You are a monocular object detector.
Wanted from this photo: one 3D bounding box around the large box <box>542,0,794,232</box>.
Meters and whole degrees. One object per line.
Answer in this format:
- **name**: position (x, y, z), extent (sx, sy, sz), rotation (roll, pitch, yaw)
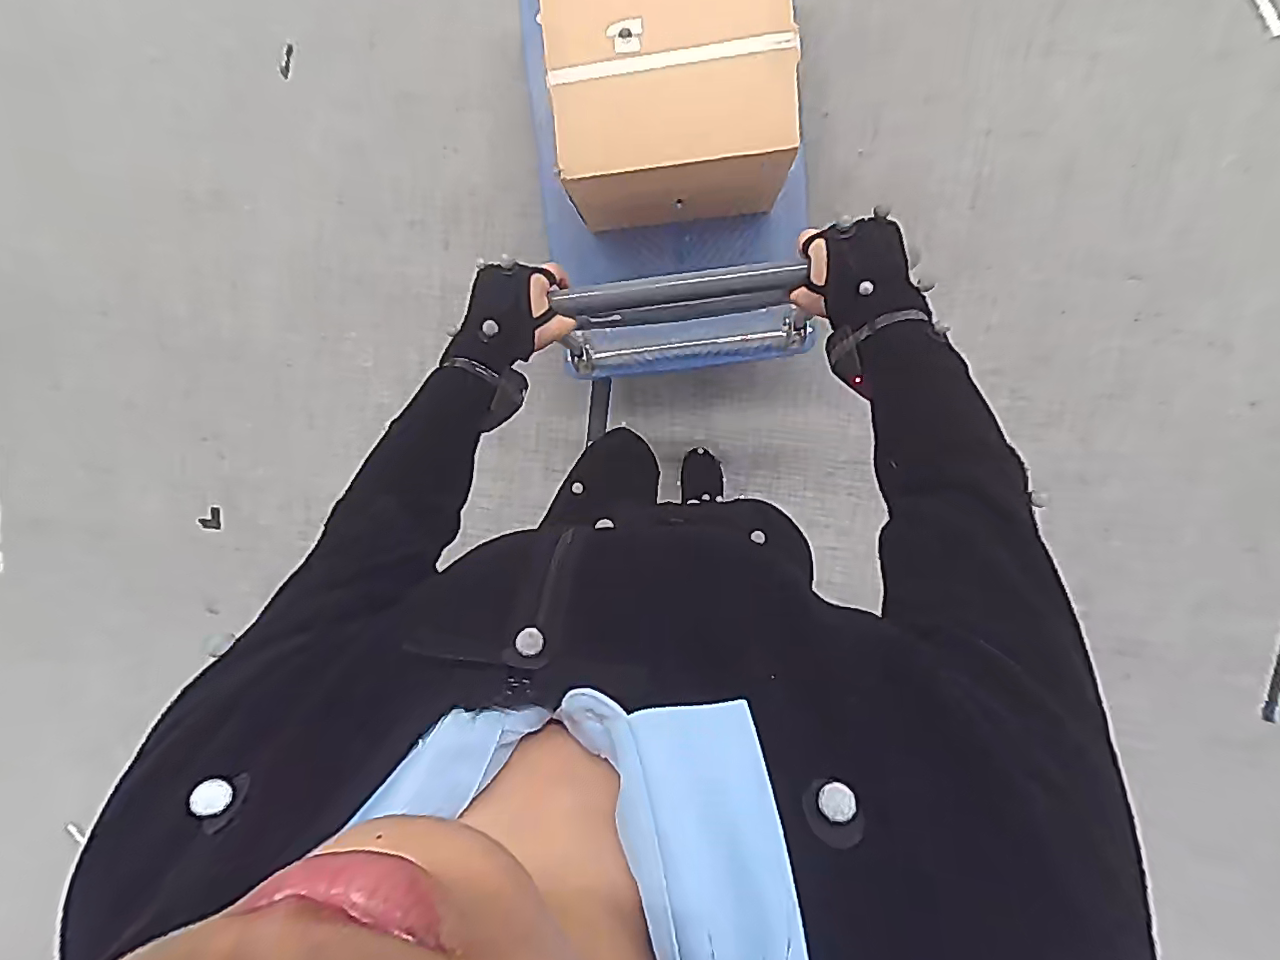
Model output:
- **large box**: position (0.062, -0.709, 1.052), extent (0.408, 0.320, 0.320), rotation (-5, 97, 6)
